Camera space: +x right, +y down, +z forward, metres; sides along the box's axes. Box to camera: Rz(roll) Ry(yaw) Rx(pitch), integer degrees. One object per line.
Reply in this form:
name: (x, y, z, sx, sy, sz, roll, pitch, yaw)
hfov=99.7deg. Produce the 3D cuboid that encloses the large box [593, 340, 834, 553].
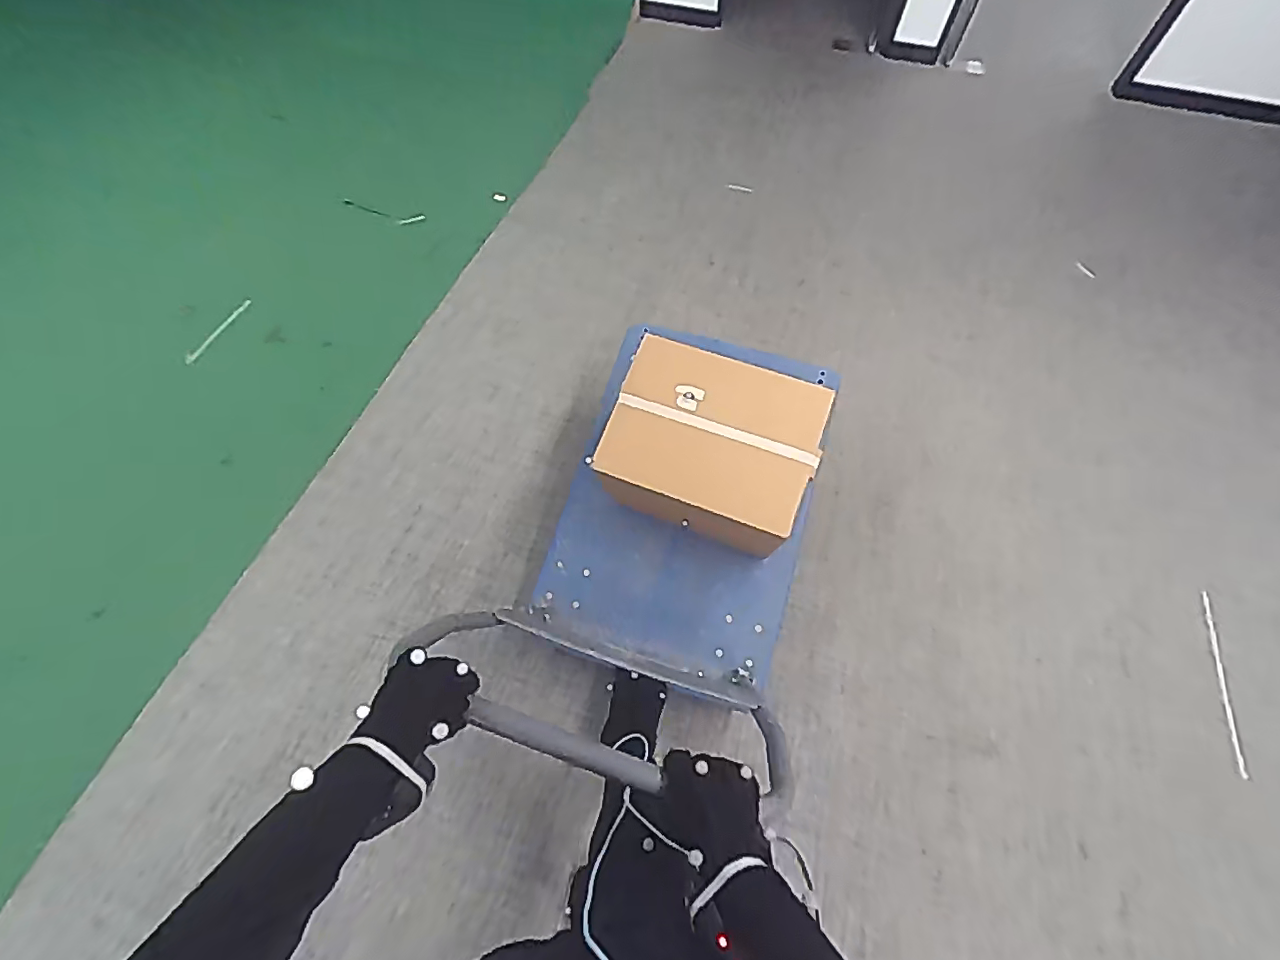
large box: (0.162, -0.057, 1.197, 0.408, 0.320, 0.320, 19, 78, 12)
